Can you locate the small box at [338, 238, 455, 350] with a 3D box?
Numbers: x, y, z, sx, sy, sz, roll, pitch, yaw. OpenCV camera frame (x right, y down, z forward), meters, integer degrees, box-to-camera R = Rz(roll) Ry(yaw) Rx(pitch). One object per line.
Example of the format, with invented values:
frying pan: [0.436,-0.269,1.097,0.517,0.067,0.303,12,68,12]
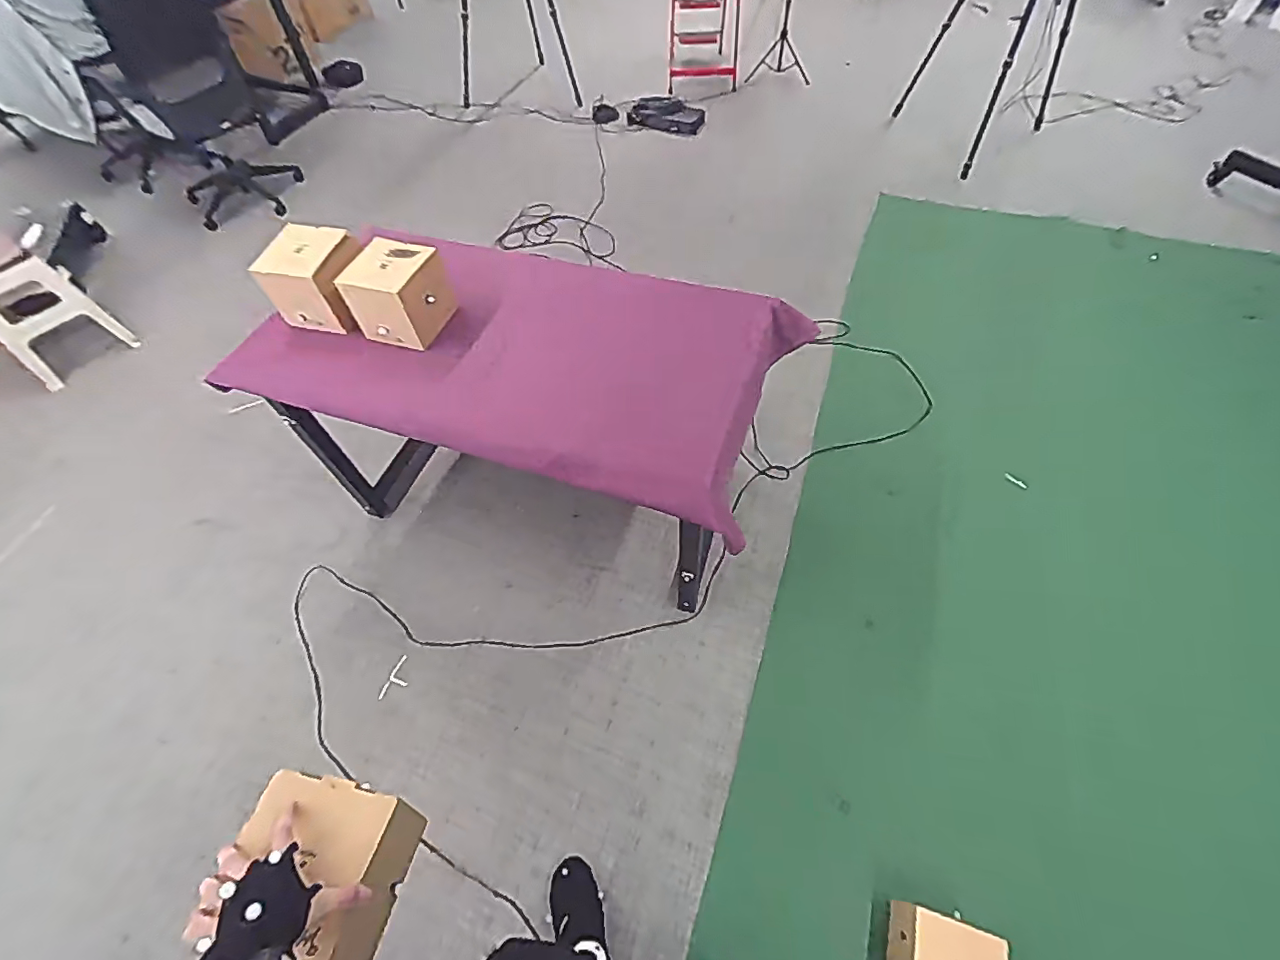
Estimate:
small box: [-0.565,-0.441,1.290,0.168,0.176,0.179,14,59,13]

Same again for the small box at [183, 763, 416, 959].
small box: [-0.413,0.499,0.700,0.168,0.176,0.179,11,49,5]

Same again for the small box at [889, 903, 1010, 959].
small box: [0.629,1.005,1.115,0.179,0.176,0.168,15,58,12]

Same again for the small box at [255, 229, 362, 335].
small box: [-0.783,-0.489,1.335,0.168,0.176,0.179,10,58,11]
